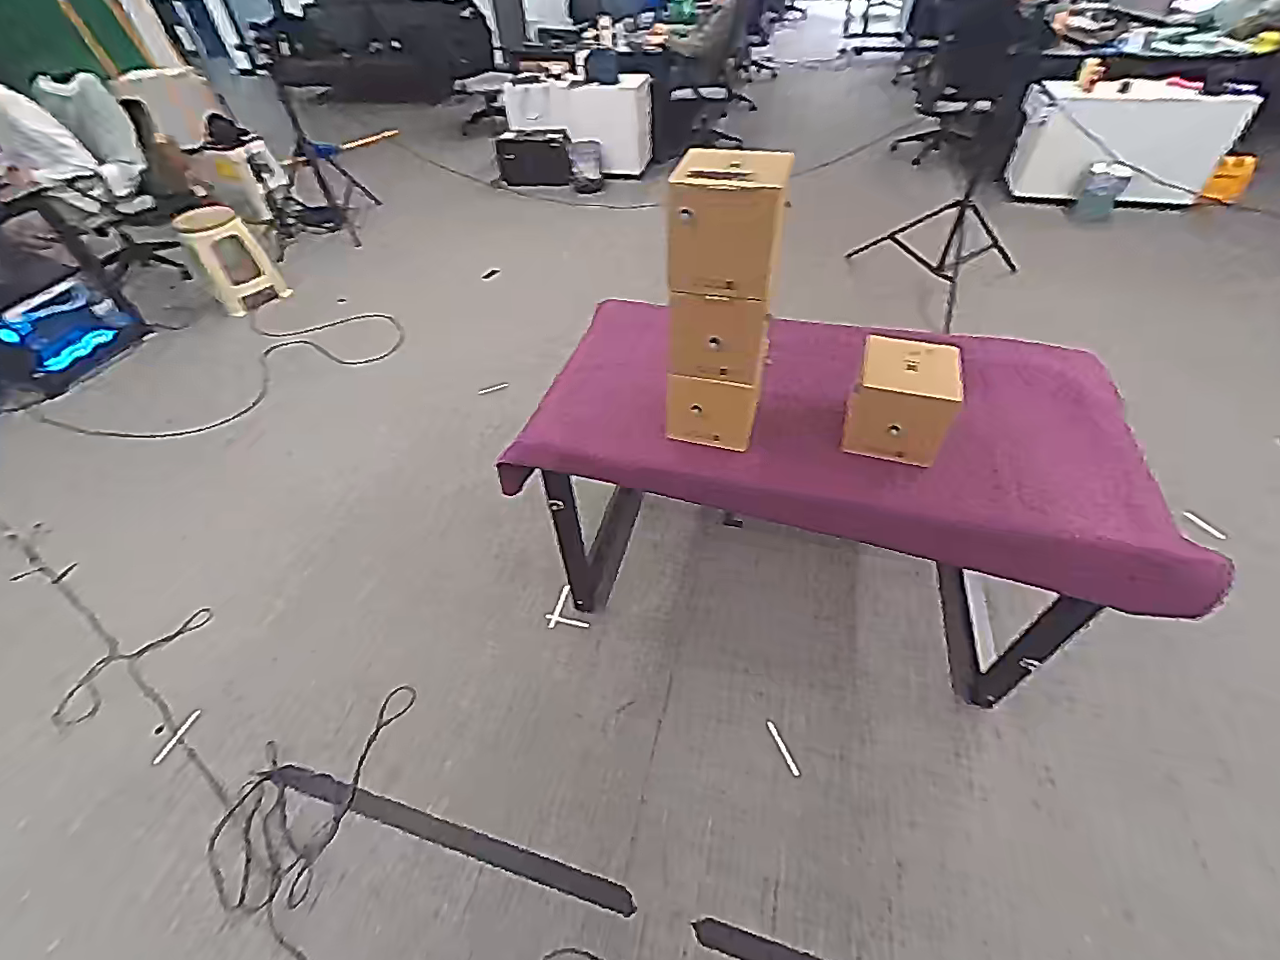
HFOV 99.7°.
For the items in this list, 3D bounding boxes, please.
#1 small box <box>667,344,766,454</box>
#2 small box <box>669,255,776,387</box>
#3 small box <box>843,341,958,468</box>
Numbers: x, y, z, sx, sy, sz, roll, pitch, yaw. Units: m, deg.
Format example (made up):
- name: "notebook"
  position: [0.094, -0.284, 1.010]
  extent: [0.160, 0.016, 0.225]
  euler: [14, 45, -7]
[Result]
- name: "small box"
  position: [0.158, -0.177, 1.120]
  extent: [0.168, 0.176, 0.179]
  euler: [11, 47, 13]
- name: "small box"
  position: [0.153, -0.294, 1.005]
  extent: [0.168, 0.176, 0.179]
  euler: [10, 48, 11]
- name: "small box"
  position: [0.509, -0.147, 1.072]
  extent: [0.168, 0.176, 0.179]
  euler: [13, 48, 14]
